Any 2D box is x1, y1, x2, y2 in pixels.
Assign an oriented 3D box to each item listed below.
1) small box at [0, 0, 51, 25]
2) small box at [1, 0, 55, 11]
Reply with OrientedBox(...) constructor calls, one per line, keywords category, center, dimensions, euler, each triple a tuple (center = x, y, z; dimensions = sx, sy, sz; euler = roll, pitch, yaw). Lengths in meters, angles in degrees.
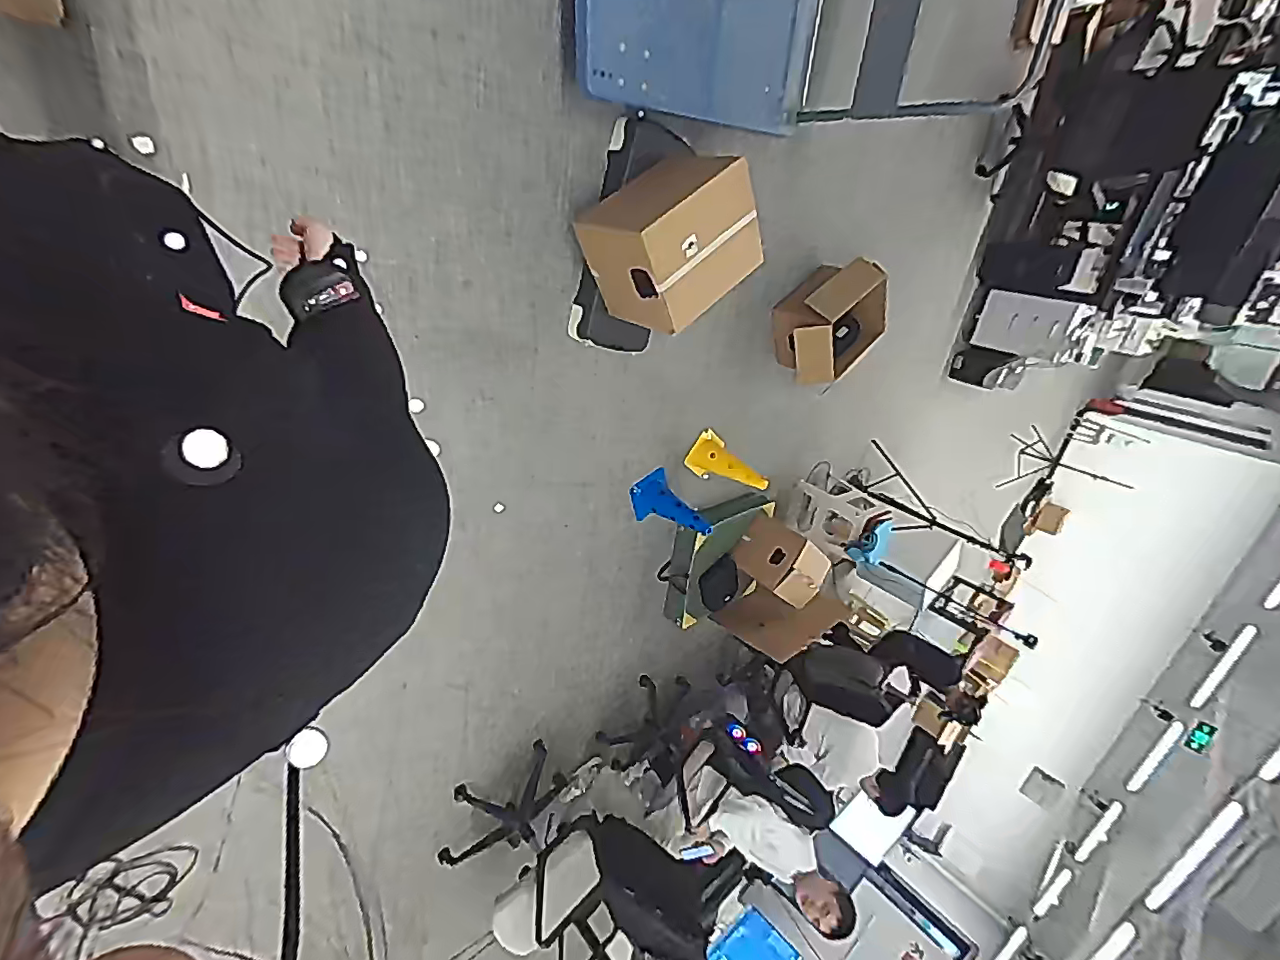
OrientedBox(category="small box", center=(-0.958, -0.776, 0.751), dimensions=(0.168, 0.176, 0.179), euler=(-11, 120, -42))
OrientedBox(category="small box", center=(-0.849, -0.705, 0.649), dimensions=(0.179, 0.176, 0.168), euler=(-11, 121, -42))
